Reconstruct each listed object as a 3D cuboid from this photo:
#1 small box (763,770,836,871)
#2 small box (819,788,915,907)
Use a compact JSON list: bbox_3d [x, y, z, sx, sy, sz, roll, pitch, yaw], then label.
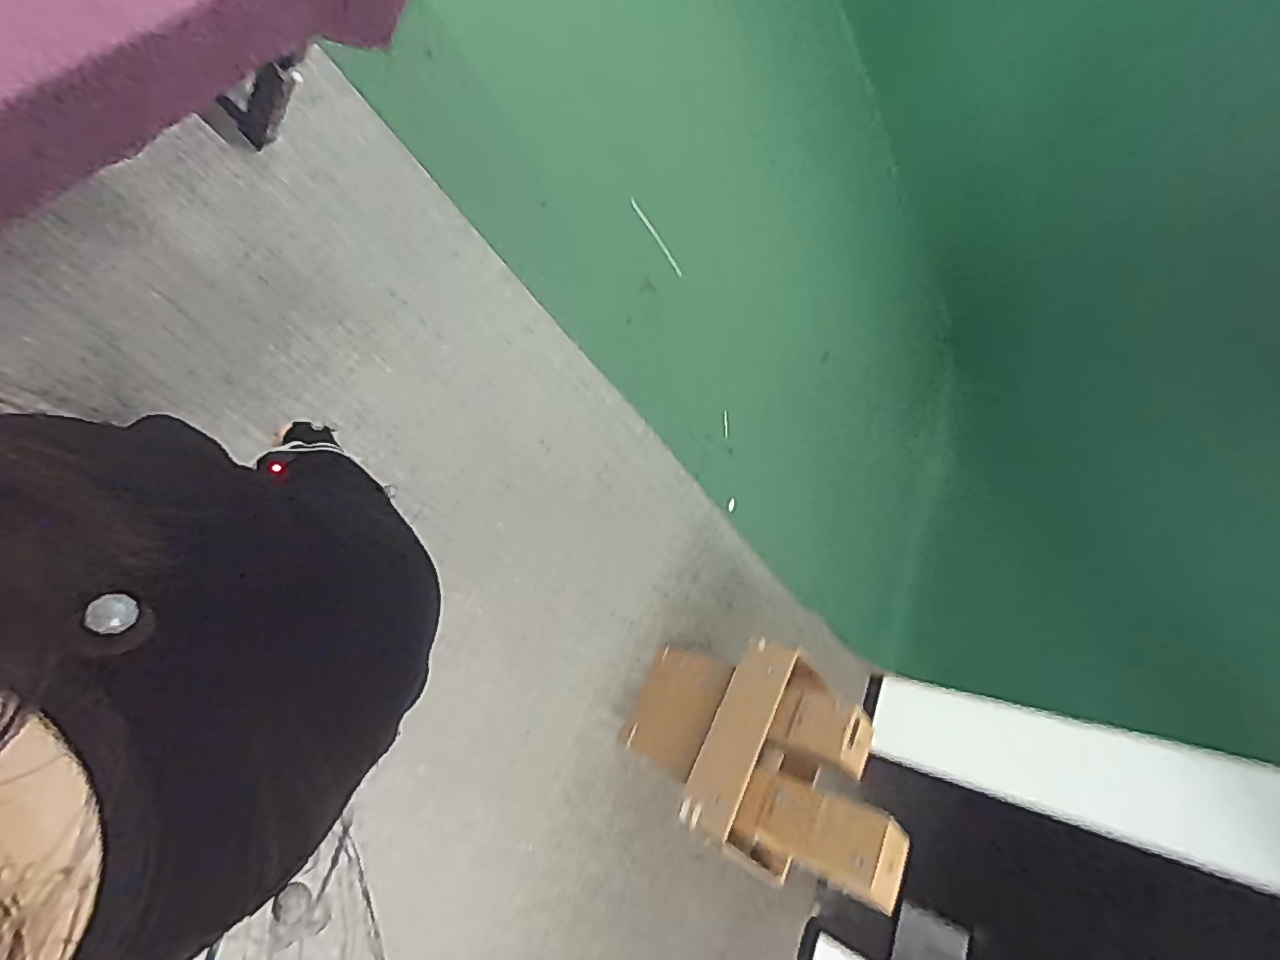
[{"bbox_3d":[0.483,0.963,1.542,0.179,0.176,0.168,51,57,-27],"label":"small box"},{"bbox_3d":[0.591,0.955,1.418,0.168,0.176,0.179,53,55,-27],"label":"small box"}]
